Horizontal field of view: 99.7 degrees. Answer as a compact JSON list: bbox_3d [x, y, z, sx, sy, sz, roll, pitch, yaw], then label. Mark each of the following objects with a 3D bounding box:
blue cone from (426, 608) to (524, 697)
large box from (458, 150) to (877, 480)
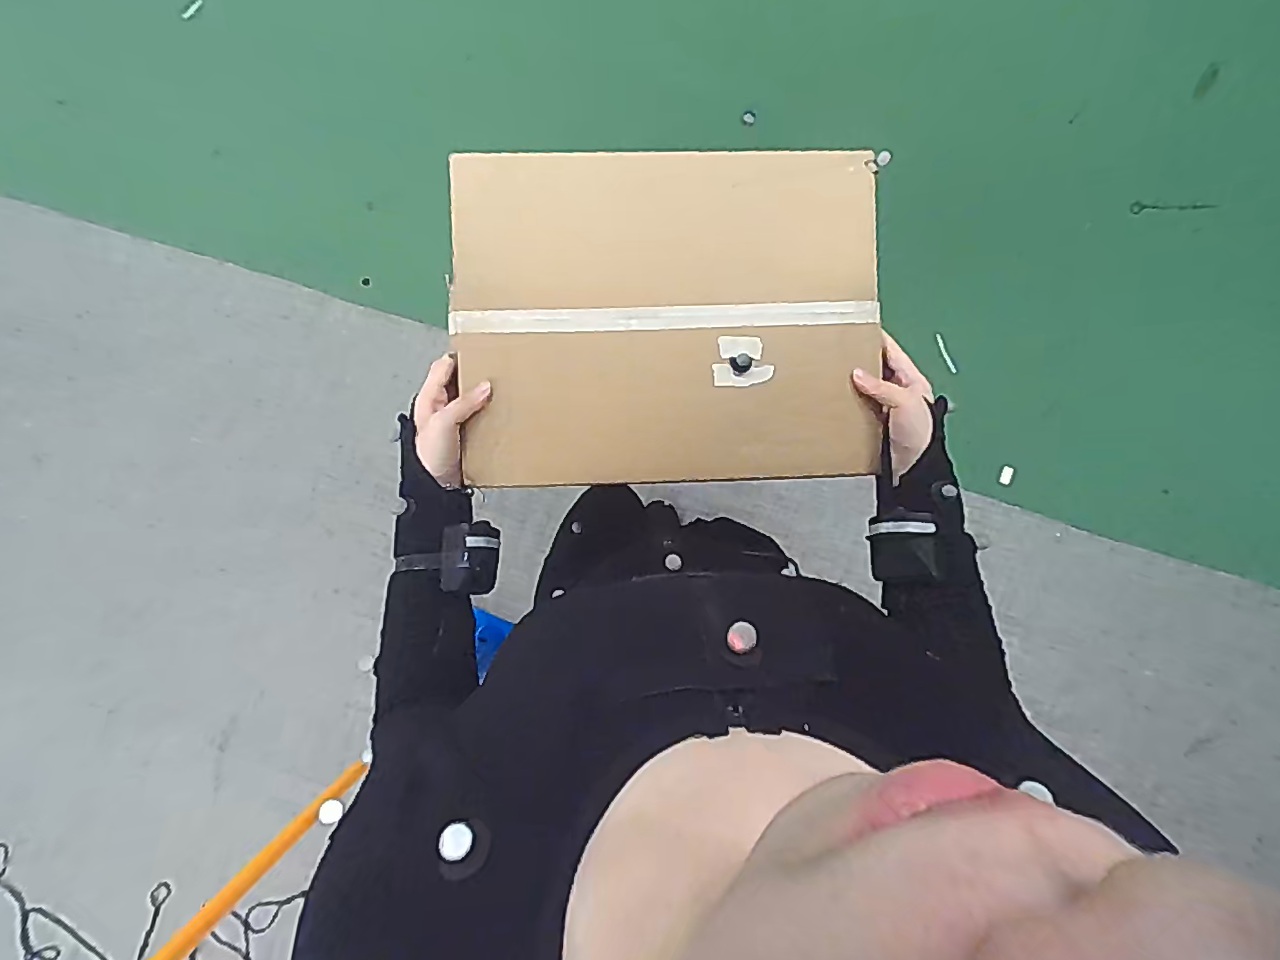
[{"bbox_3d":[-0.441,0.465,1.344,0.193,0.380,0.192,26,88,2],"label":"blue cone"},{"bbox_3d":[0.021,-0.164,0.671,0.408,0.320,0.320,-2,91,-4],"label":"large box"}]
